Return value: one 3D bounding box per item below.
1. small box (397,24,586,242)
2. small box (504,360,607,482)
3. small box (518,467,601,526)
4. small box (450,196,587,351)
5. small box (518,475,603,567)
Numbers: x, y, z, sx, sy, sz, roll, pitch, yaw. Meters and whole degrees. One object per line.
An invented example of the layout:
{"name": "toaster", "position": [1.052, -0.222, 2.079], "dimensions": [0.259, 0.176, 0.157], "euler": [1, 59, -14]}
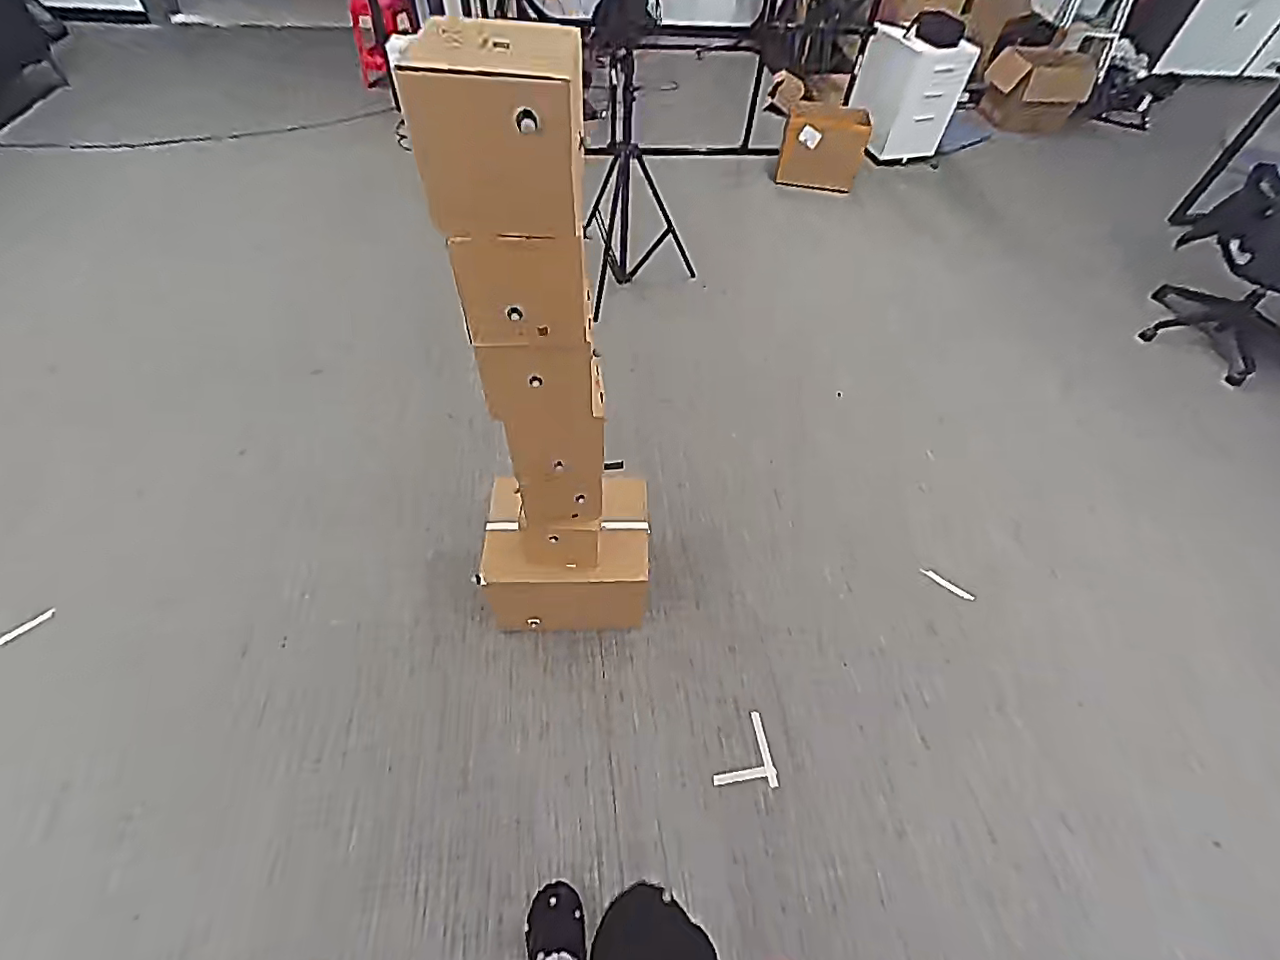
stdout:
{"name": "small box", "position": [-0.155, -0.402, 0.639], "dimensions": [0.179, 0.176, 0.168], "euler": [1, 53, -3]}
{"name": "small box", "position": [-0.162, -0.111, 1.035], "dimensions": [0.179, 0.176, 0.168], "euler": [-4, 53, -9]}
{"name": "small box", "position": [-0.179, -0.015, 1.166], "dimensions": [0.168, 0.176, 0.179], "euler": [-9, 53, -12]}
{"name": "small box", "position": [-0.161, -0.306, 0.772], "dimensions": [0.168, 0.176, 0.179], "euler": [-2, 54, -6]}
{"name": "small box", "position": [-0.182, 0.095, 1.287], "dimensions": [0.179, 0.176, 0.168], "euler": [3, 53, -3]}
